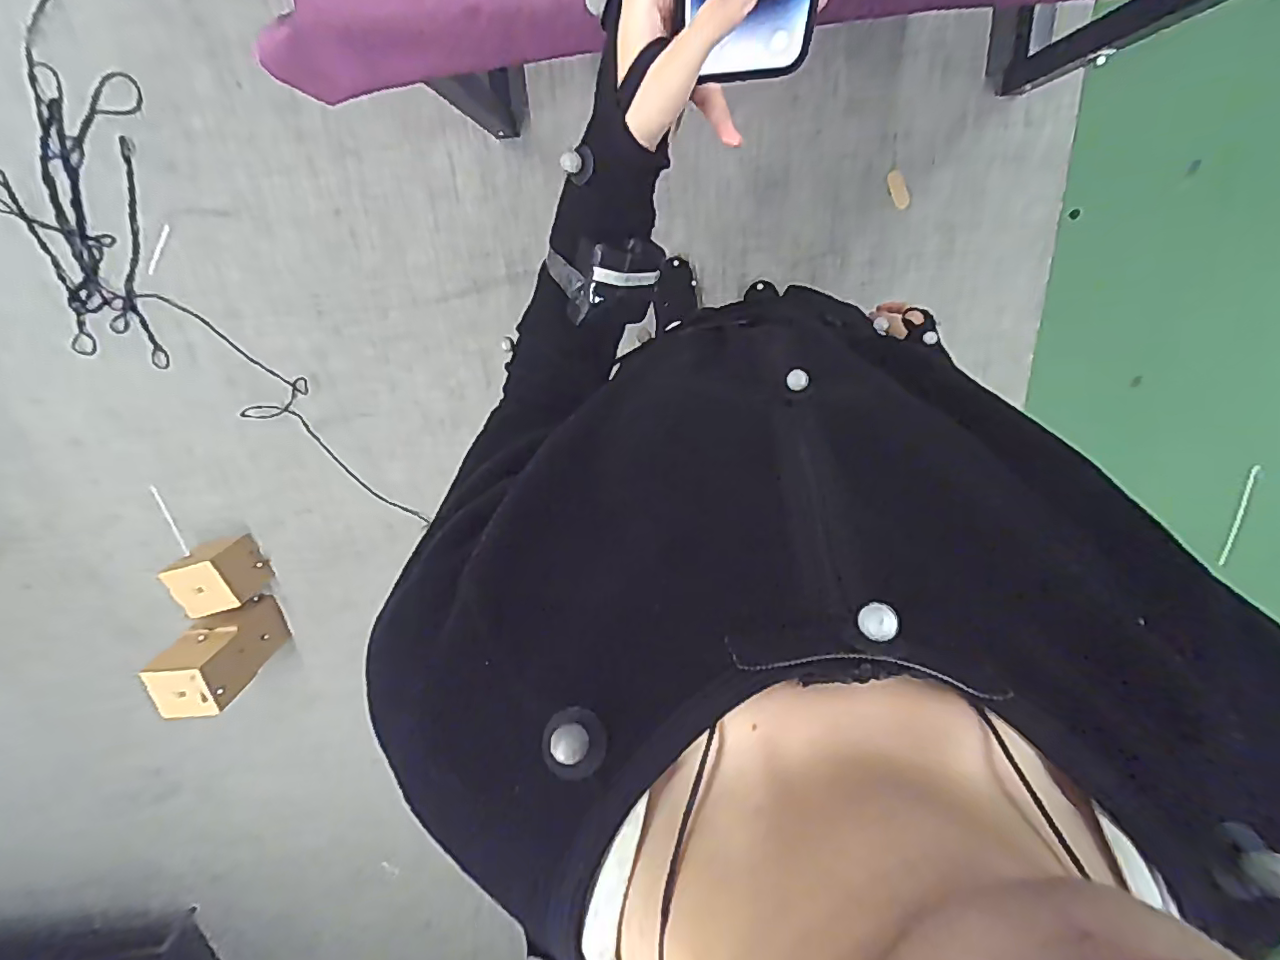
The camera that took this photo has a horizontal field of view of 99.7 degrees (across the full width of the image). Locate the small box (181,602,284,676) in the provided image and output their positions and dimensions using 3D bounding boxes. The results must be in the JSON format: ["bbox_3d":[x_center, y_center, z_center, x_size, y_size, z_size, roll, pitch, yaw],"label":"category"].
[{"bbox_3d":[-1.273,0.497,1.702,0.168,0.176,0.179,-5,113,4],"label":"small box"}]

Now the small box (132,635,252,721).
[{"bbox_3d":[-1.276,0.564,1.552,0.179,0.176,0.168,-3,112,4],"label":"small box"}]

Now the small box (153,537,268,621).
[{"bbox_3d":[-1.275,0.292,1.620,0.179,0.176,0.168,-14,112,7],"label":"small box"}]
